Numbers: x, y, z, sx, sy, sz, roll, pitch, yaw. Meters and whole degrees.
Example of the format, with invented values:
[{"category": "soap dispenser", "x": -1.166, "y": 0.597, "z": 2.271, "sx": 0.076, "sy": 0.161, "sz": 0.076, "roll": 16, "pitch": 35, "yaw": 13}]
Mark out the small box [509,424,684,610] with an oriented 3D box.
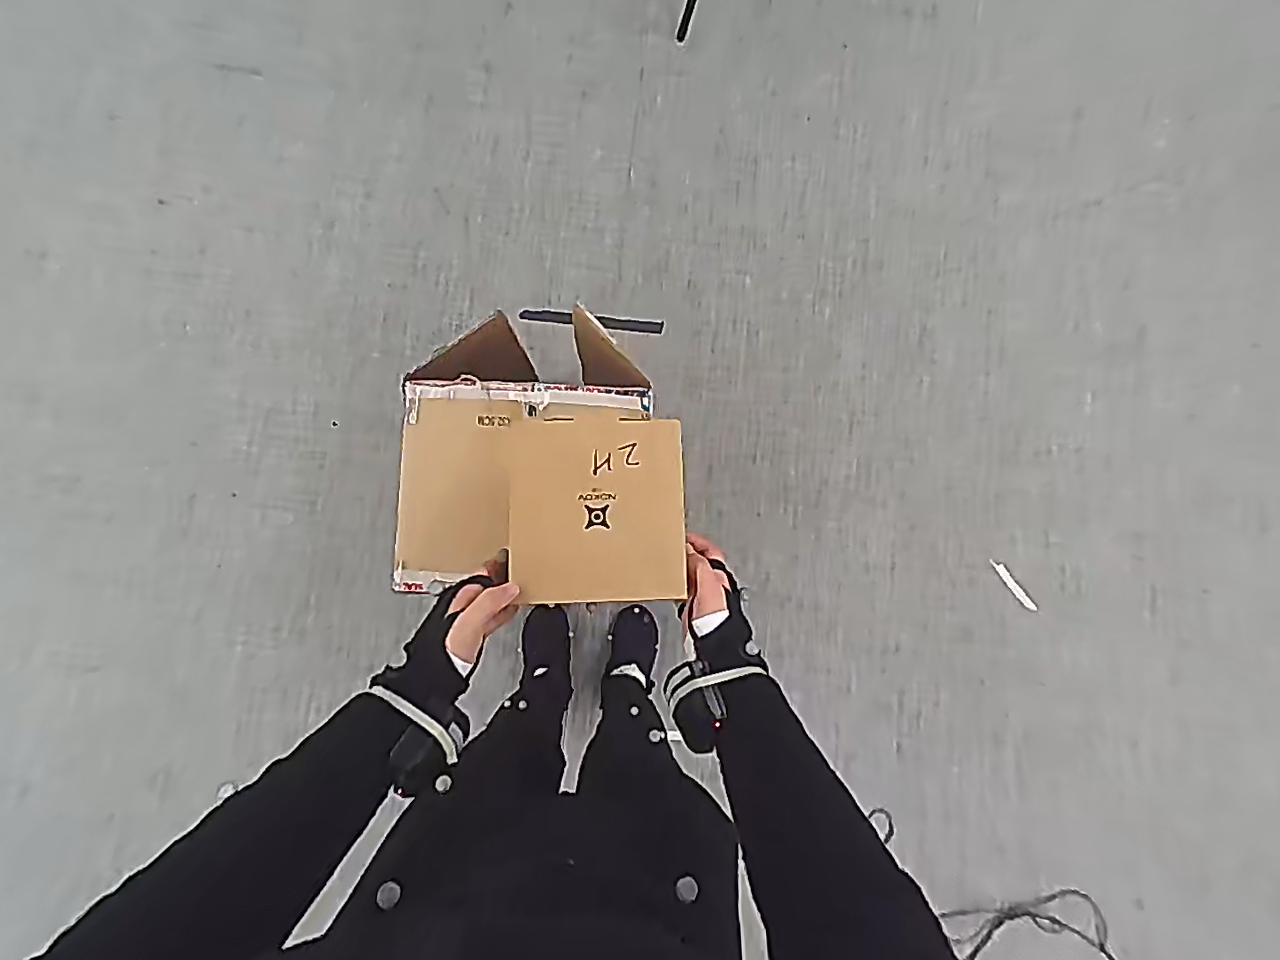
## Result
[{"category": "small box", "x": -0.049, "y": 0.044, "z": 0.592, "sx": 0.168, "sy": 0.176, "sz": 0.179, "roll": 0, "pitch": 81, "yaw": -7}]
